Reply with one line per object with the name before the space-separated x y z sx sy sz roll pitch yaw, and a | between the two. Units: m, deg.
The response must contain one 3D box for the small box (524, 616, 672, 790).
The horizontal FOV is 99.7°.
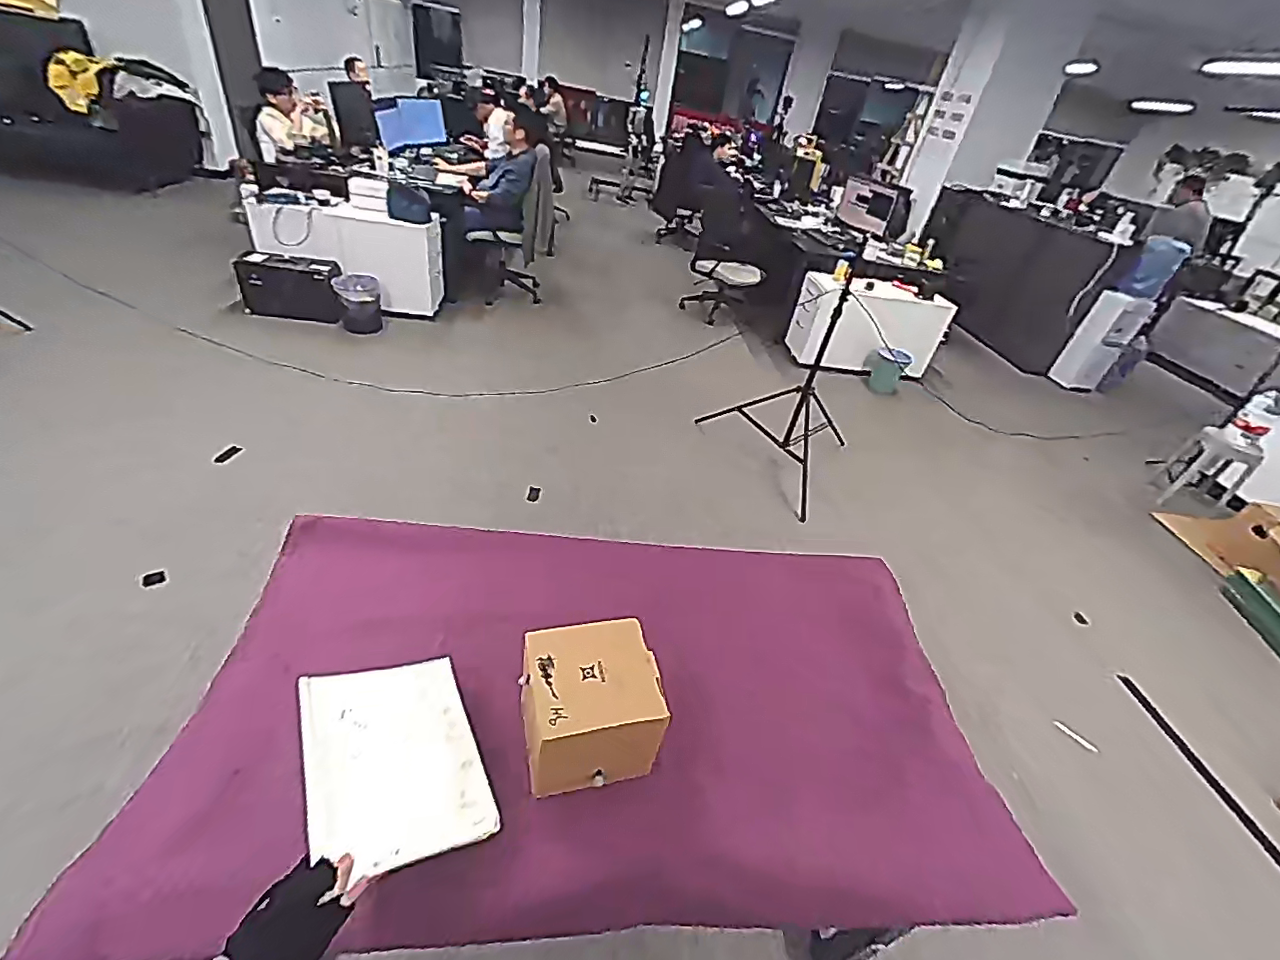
small box | -0.072 0.326 0.800 0.179 0.176 0.168 -2 37 -18
